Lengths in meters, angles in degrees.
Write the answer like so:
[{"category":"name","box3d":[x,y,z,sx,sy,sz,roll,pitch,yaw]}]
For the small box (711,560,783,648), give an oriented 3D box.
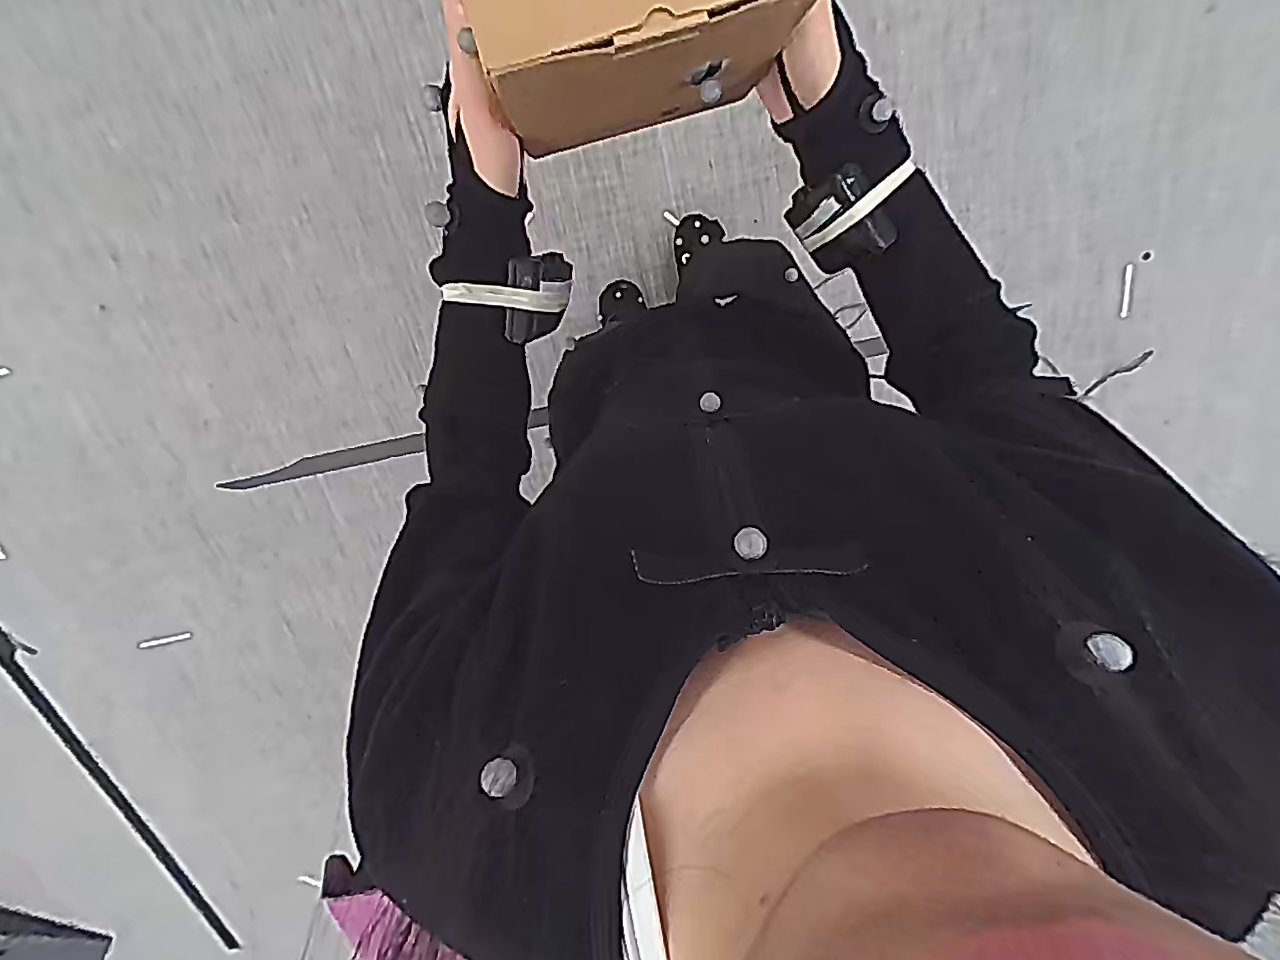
[{"category":"small box","box3d":[0.313,0.362,1.596,0.168,0.176,0.179,-11,112,-1]}]
